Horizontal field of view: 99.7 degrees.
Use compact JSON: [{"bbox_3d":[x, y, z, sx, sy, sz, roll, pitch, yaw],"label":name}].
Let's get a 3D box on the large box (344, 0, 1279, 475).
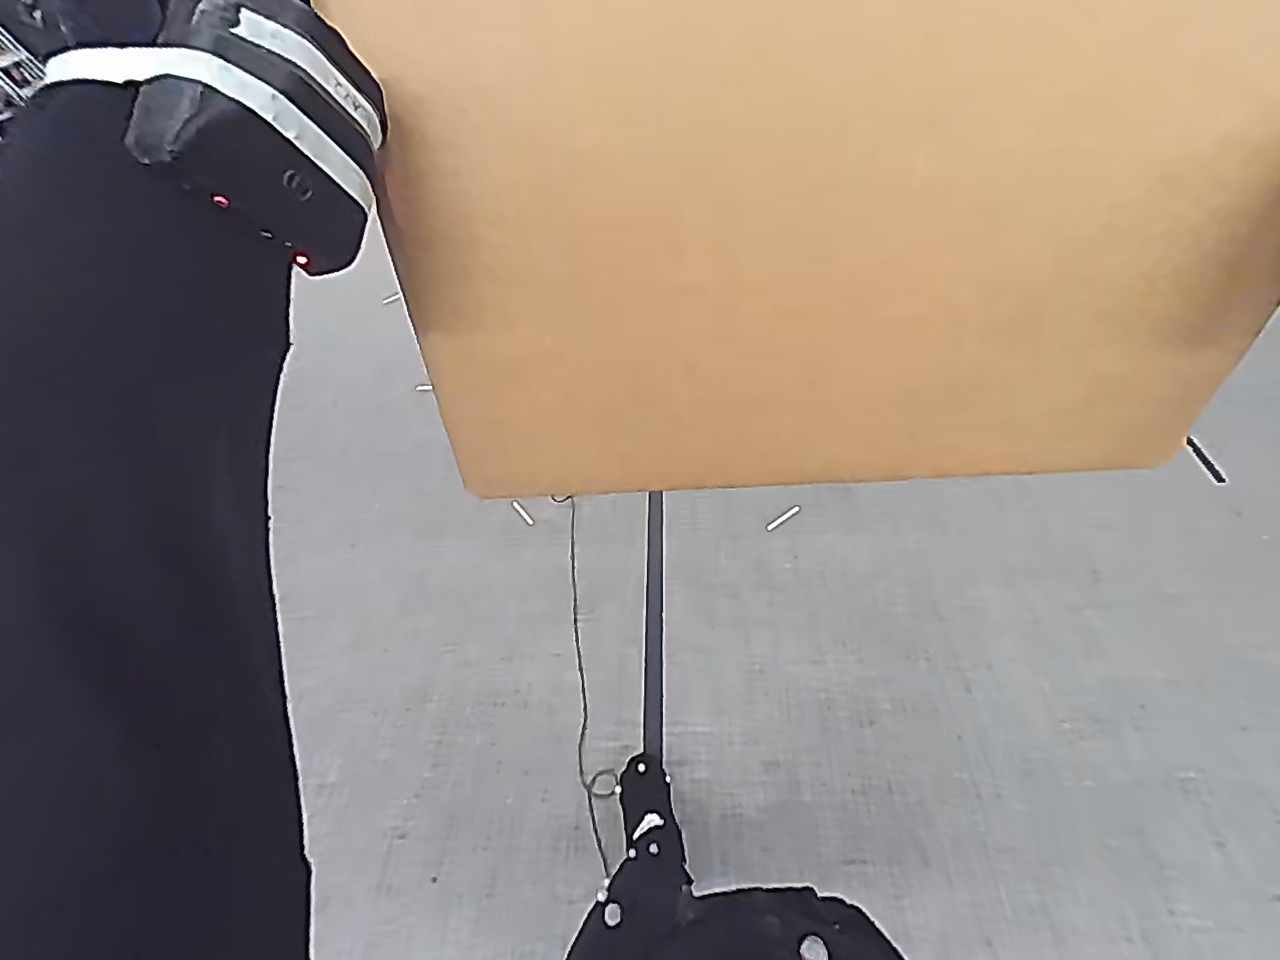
[{"bbox_3d":[0.087,-0.219,0.345,0.408,0.320,0.320,-2,38,0],"label":"large box"}]
